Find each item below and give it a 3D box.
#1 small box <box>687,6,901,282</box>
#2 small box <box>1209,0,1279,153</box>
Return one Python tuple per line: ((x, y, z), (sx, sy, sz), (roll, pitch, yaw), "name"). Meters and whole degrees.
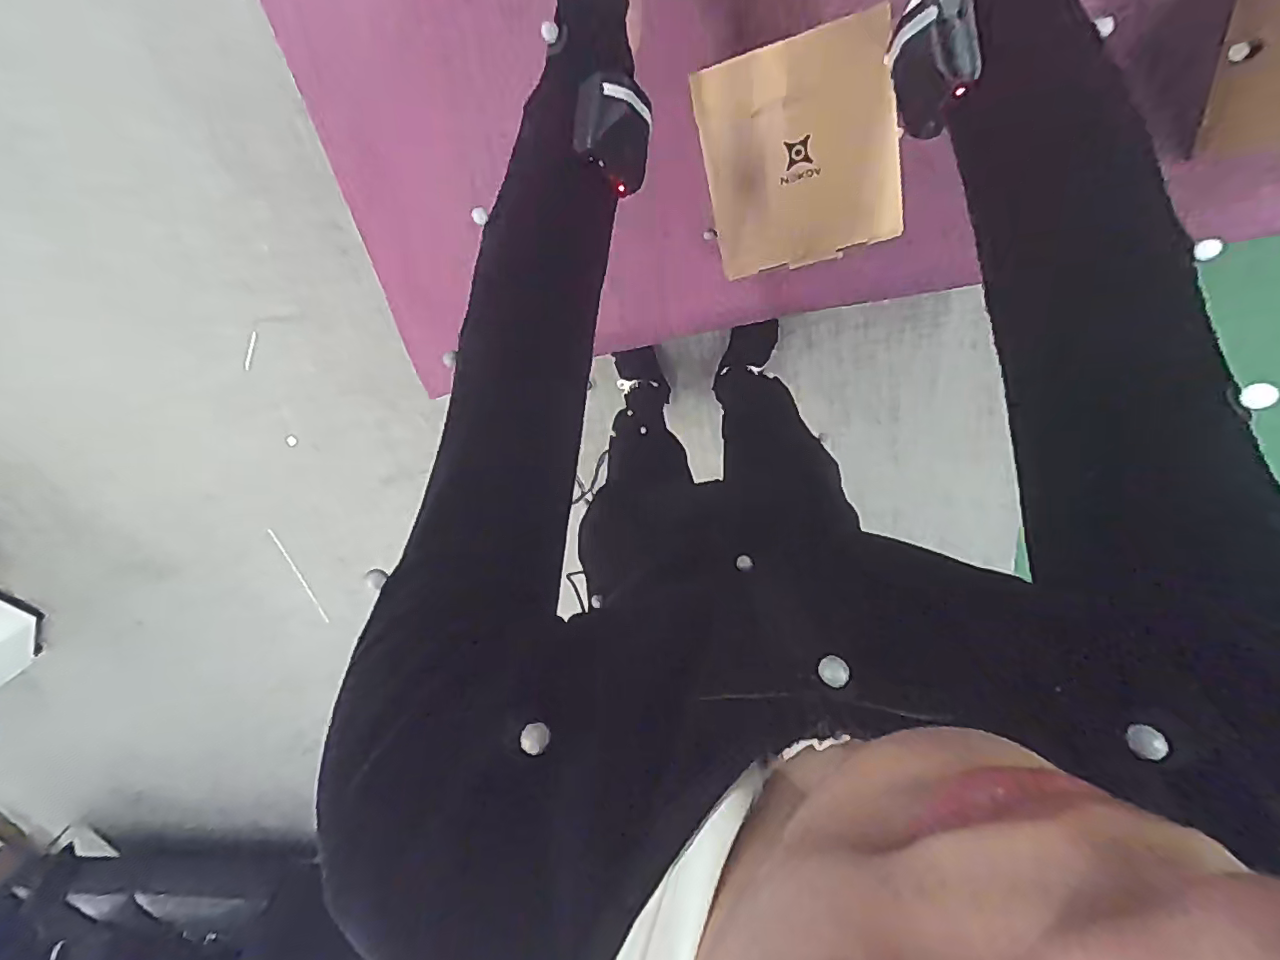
((0.150, -0.318, 0.542), (0.168, 0.176, 0.179), (-10, 115, 14), "small box")
((0.624, -0.369, 0.427), (0.168, 0.176, 0.179), (-2, 117, 11), "small box")
